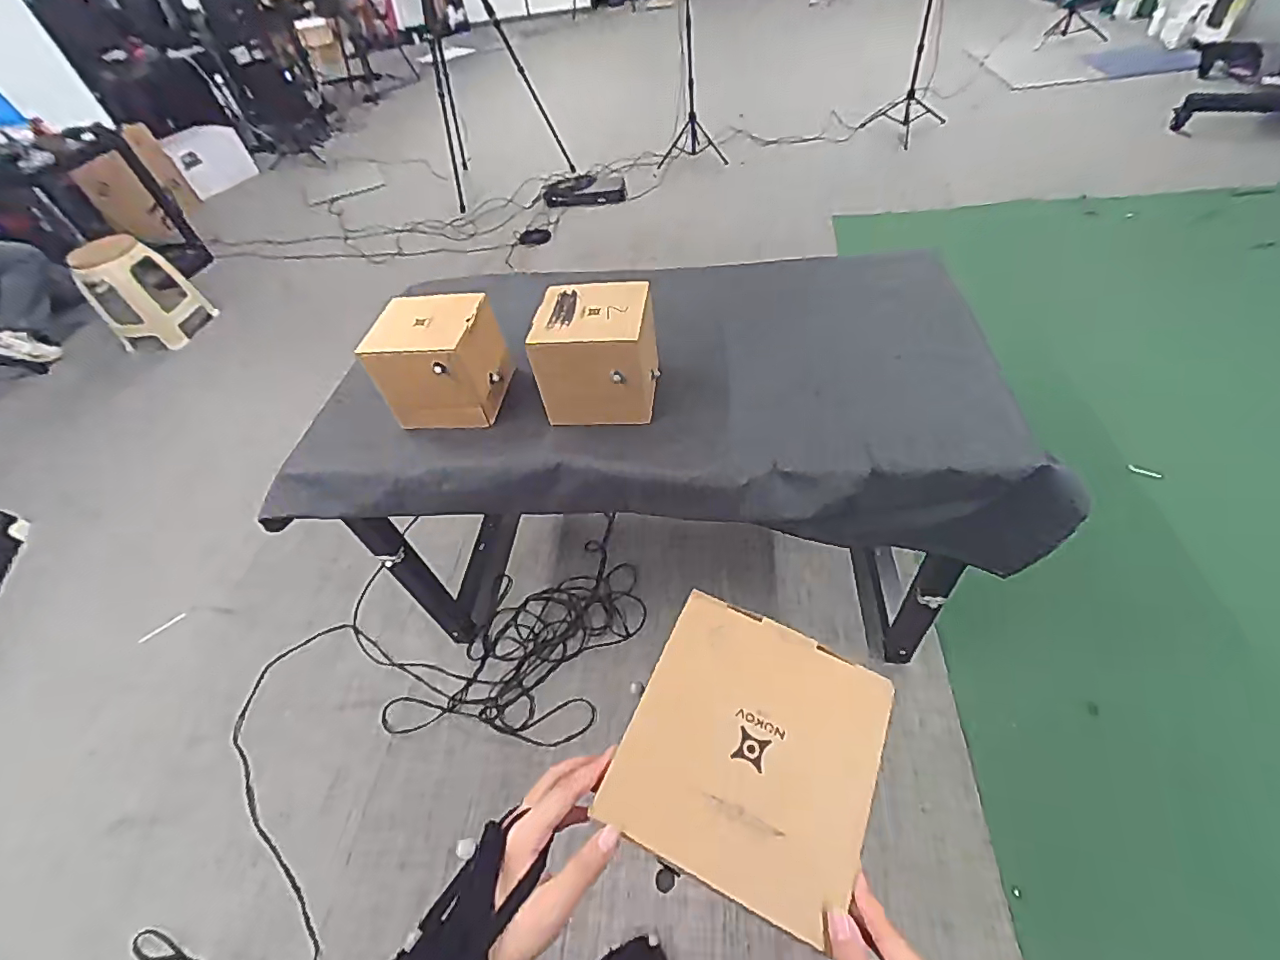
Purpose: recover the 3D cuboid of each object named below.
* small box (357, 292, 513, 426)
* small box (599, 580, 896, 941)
[{"bbox_3d":[-0.344,-0.207,0.949,0.179,0.176,0.168,0,49,8],"label":"small box"},{"bbox_3d":[0.078,0.218,0.441,0.168,0.176,0.179,23,59,13],"label":"small box"}]
